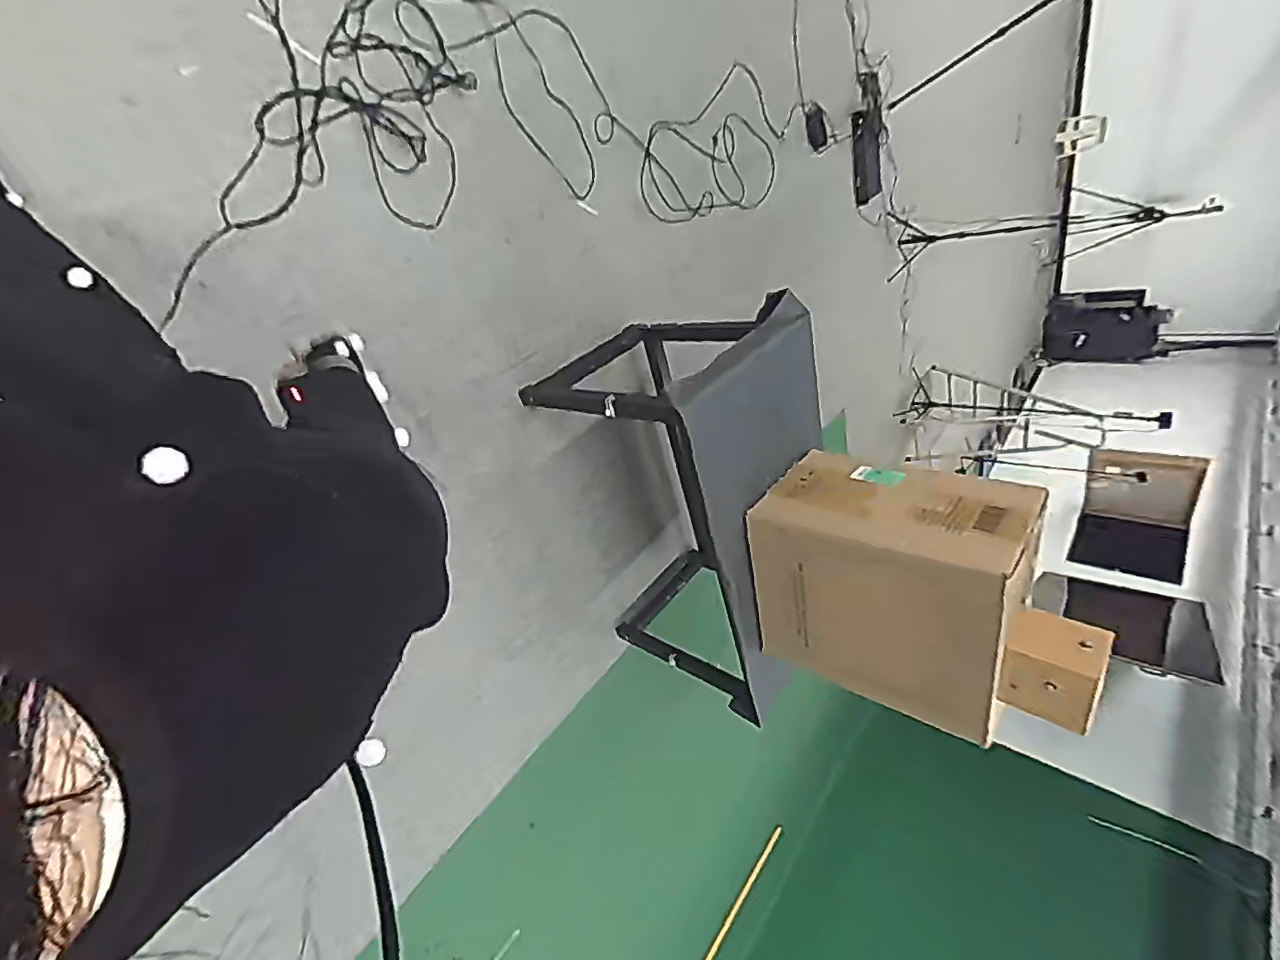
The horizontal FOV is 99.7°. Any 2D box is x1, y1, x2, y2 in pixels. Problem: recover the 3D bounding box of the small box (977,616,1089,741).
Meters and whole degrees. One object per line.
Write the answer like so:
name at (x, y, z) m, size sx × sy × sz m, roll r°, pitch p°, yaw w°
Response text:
small box at (0.894, 0.446, 1.238) m, size 0.179 × 0.176 × 0.168 m, roll -29°, pitch 121°, yaw -38°
